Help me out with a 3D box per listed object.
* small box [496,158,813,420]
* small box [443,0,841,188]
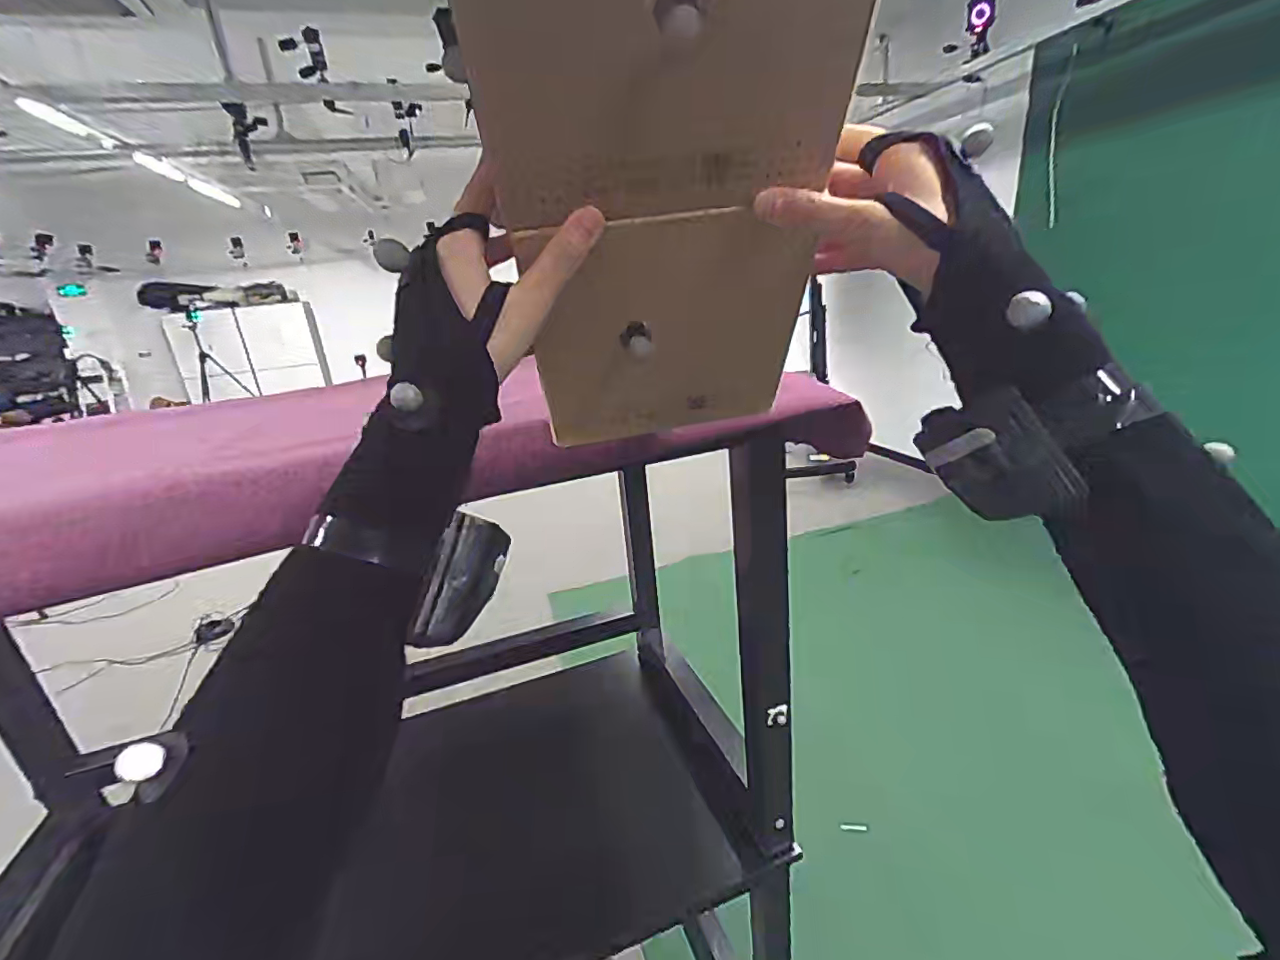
[{"bbox_3d":[-0.001,-0.158,0.383,0.168,0.176,0.179,-9,54,-5],"label":"small box"},{"bbox_3d":[-0.006,-0.257,0.250,0.168,0.176,0.179,-9,56,-5],"label":"small box"}]
